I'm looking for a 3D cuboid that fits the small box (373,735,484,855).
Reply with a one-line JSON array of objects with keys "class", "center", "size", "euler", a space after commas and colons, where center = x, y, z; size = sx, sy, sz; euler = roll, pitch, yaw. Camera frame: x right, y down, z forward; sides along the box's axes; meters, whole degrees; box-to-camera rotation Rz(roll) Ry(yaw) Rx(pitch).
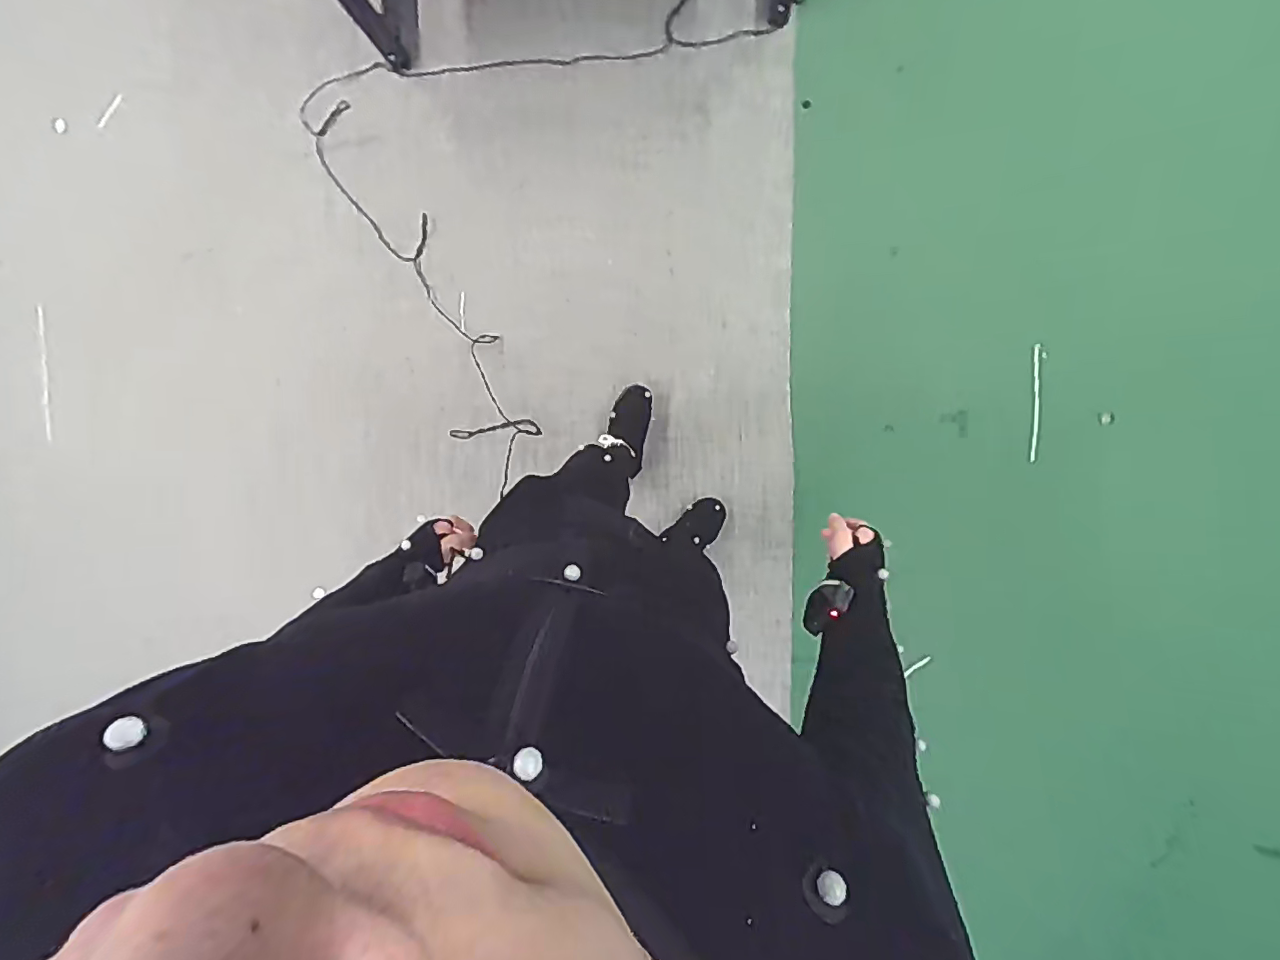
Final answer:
[{"class": "small box", "center": [-0.466, 0.692, 1.207], "size": [0.179, 0.176, 0.168], "euler": [2, 94, 5]}]
